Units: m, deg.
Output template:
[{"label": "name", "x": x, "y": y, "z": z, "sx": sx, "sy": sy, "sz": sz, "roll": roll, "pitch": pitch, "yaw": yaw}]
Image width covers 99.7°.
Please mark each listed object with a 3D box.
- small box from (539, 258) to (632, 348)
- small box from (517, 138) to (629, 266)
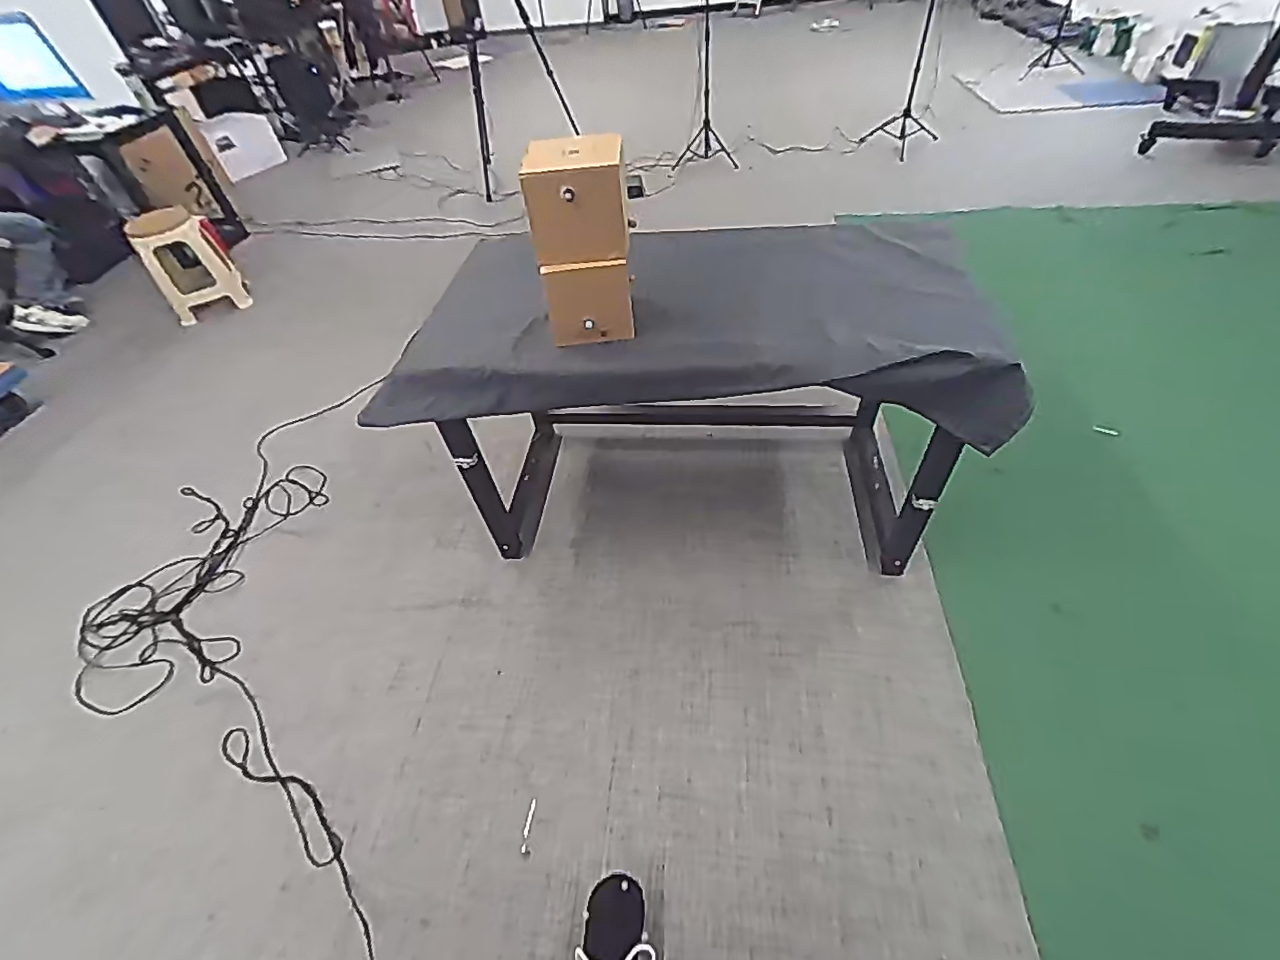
[{"label": "small box", "x": -0.109, "y": -0.398, "z": 1.130, "sx": 0.168, "sy": 0.176, "sz": 0.179, "roll": -6, "pitch": 48, "yaw": 1}, {"label": "small box", "x": -0.117, "y": -0.519, "z": 1.020, "sx": 0.179, "sy": 0.176, "sz": 0.168, "roll": -3, "pitch": 49, "yaw": 3}]
